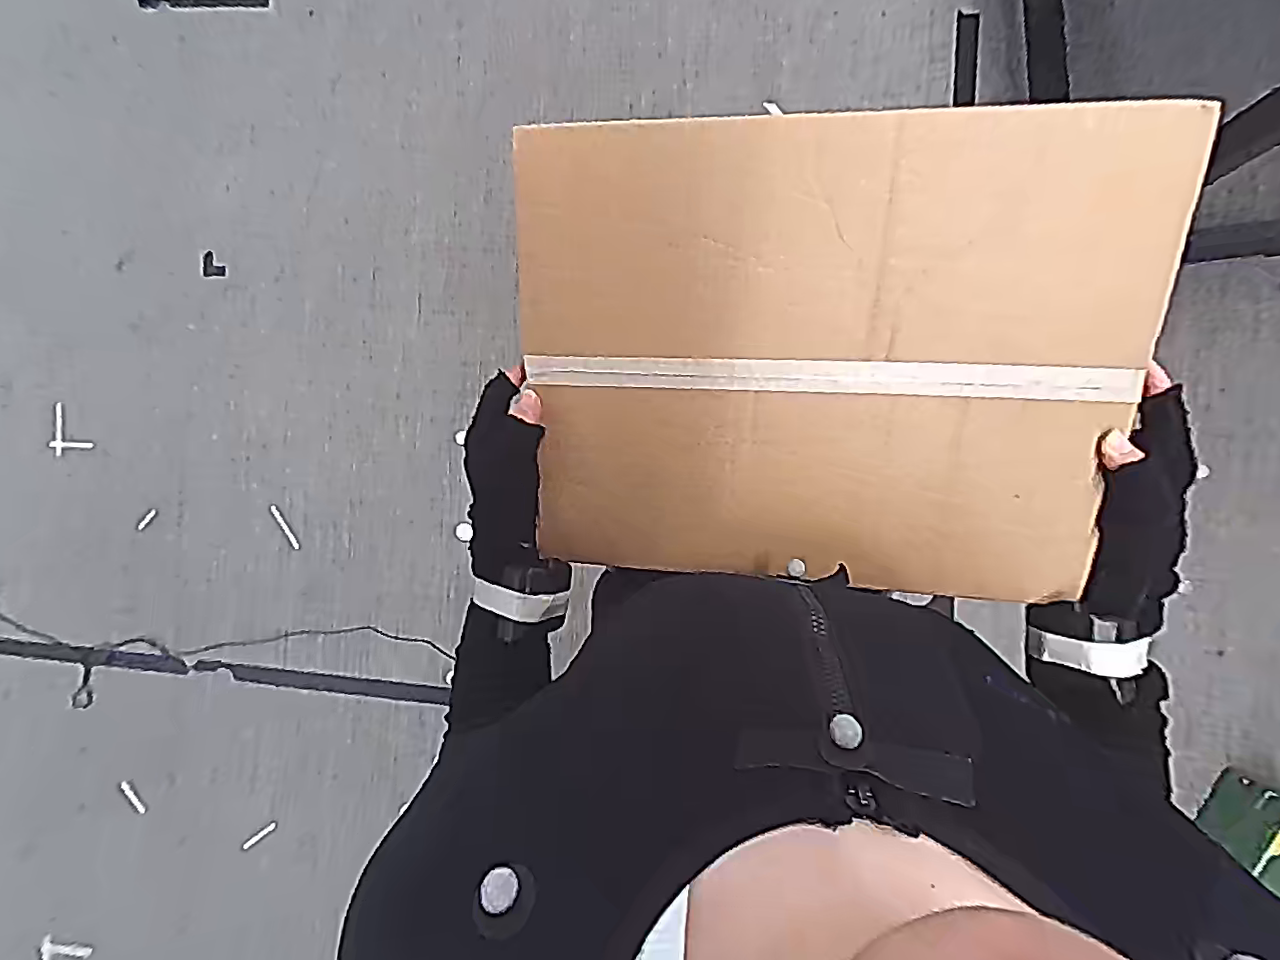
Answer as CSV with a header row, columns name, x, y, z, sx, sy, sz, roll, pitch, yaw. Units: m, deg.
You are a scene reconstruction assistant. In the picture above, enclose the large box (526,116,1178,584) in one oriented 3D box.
name,x,y,z,sx,sy,sz,roll,pitch,yaw
large box,0.137,-0.122,0.527,0.408,0.320,0.320,4,110,8
